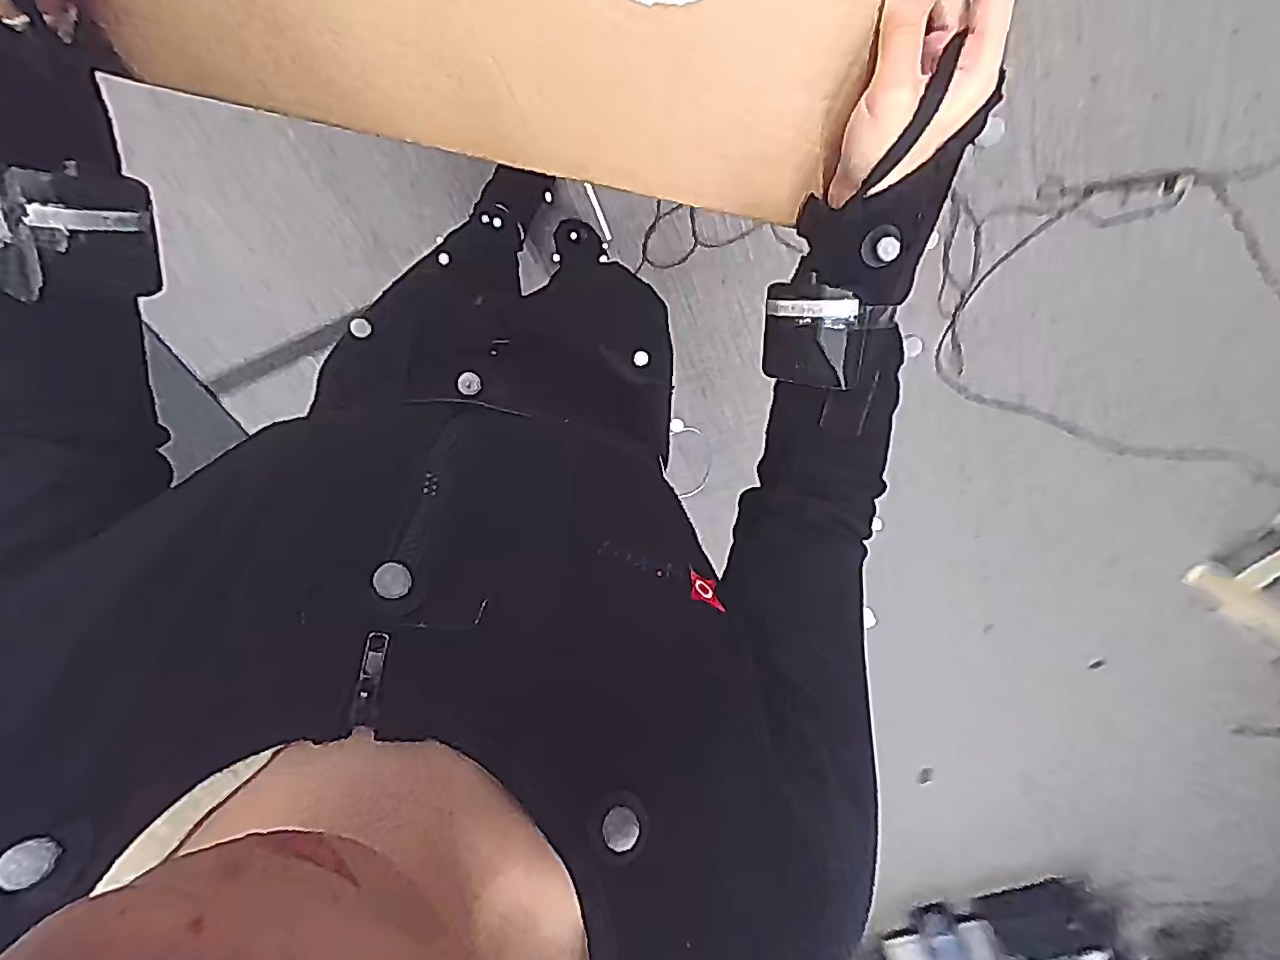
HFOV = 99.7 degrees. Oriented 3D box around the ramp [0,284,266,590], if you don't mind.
[{"bbox_3d":[-1.515,-0.032,1.303,0.991,0.206,0.509,-23,119,9],"label":"ramp"}]
